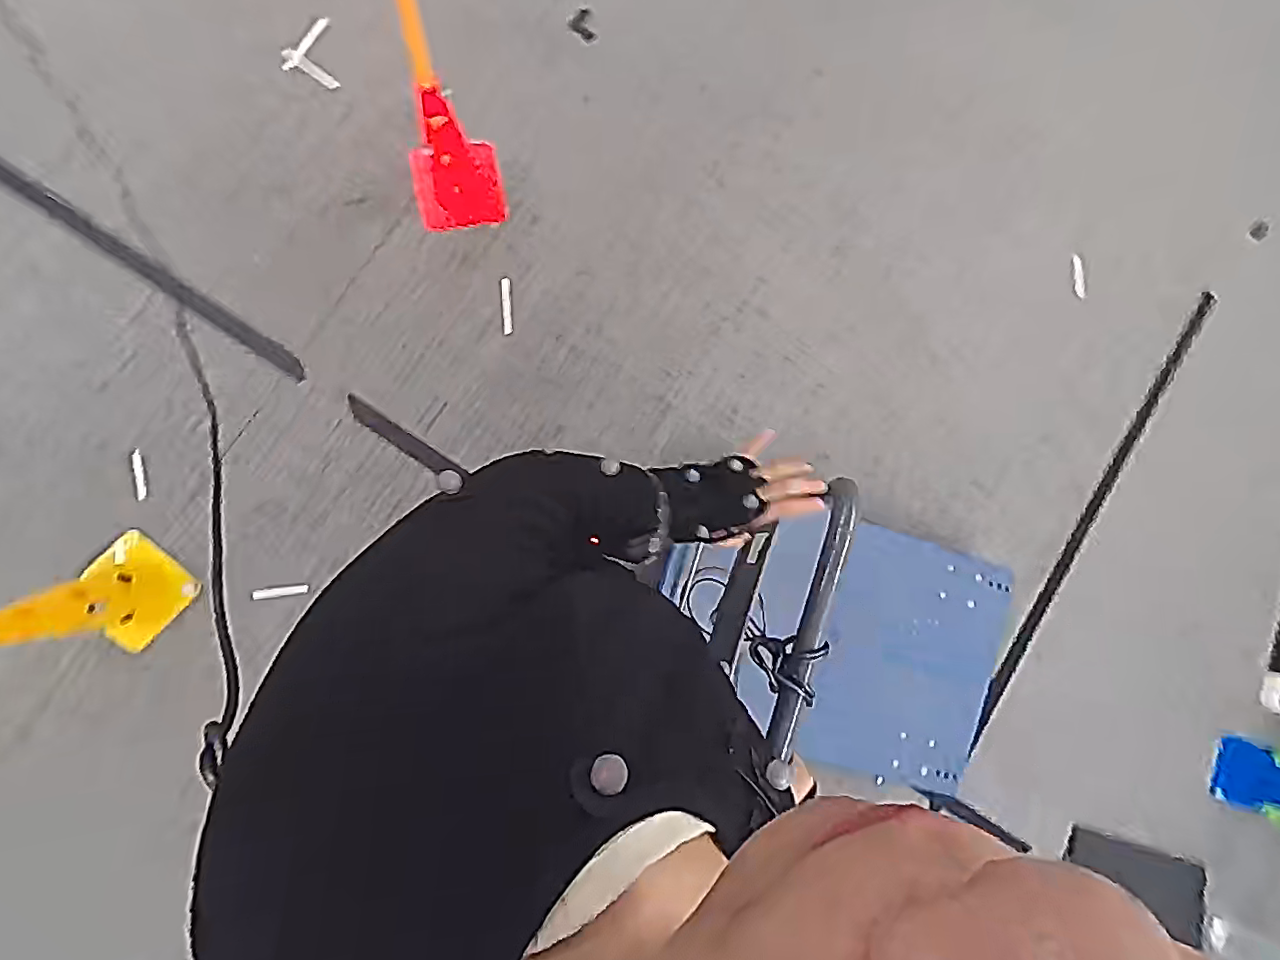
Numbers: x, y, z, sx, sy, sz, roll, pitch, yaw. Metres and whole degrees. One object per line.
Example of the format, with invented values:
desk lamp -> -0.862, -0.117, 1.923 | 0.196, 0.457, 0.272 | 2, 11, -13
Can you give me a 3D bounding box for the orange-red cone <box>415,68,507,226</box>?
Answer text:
orange-red cone -> -0.408, -0.720, 1.141 | 0.198, 0.360, 0.199 | -11, 93, -8
